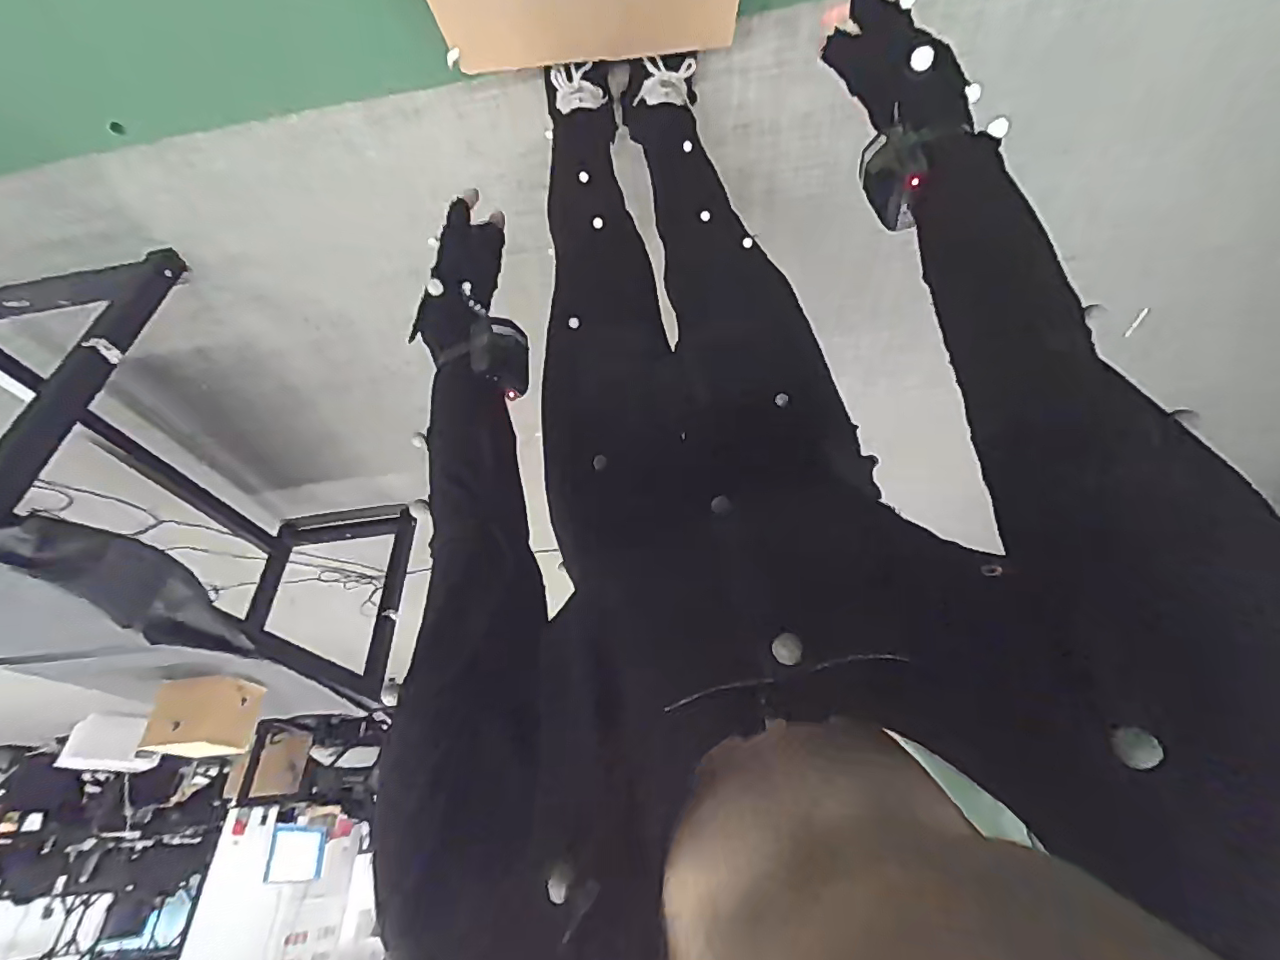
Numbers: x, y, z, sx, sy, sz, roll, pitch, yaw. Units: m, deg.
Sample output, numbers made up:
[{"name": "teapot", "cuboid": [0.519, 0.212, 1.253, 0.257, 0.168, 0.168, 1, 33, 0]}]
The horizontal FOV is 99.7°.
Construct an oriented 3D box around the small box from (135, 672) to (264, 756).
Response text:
[{"name": "small box", "cuboid": [-1.154, 0.621, 1.434, 0.179, 0.176, 0.168, -9, 144, 7]}]
